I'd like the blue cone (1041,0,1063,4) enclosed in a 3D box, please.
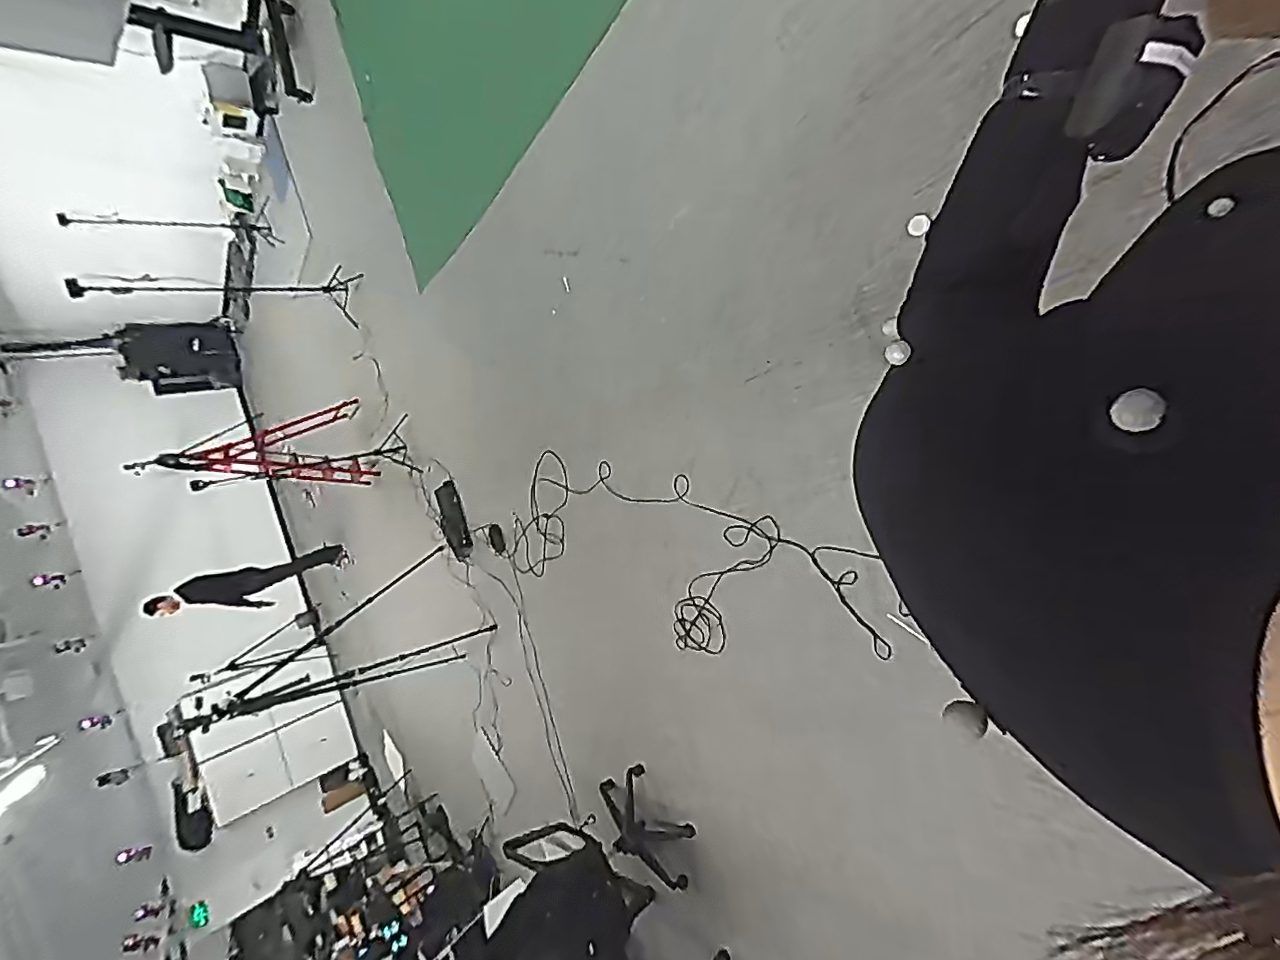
[{"bbox_3d":[0.744,-1.015,0.916,0.193,0.380,0.192,-6,98,48],"label":"blue cone"}]
